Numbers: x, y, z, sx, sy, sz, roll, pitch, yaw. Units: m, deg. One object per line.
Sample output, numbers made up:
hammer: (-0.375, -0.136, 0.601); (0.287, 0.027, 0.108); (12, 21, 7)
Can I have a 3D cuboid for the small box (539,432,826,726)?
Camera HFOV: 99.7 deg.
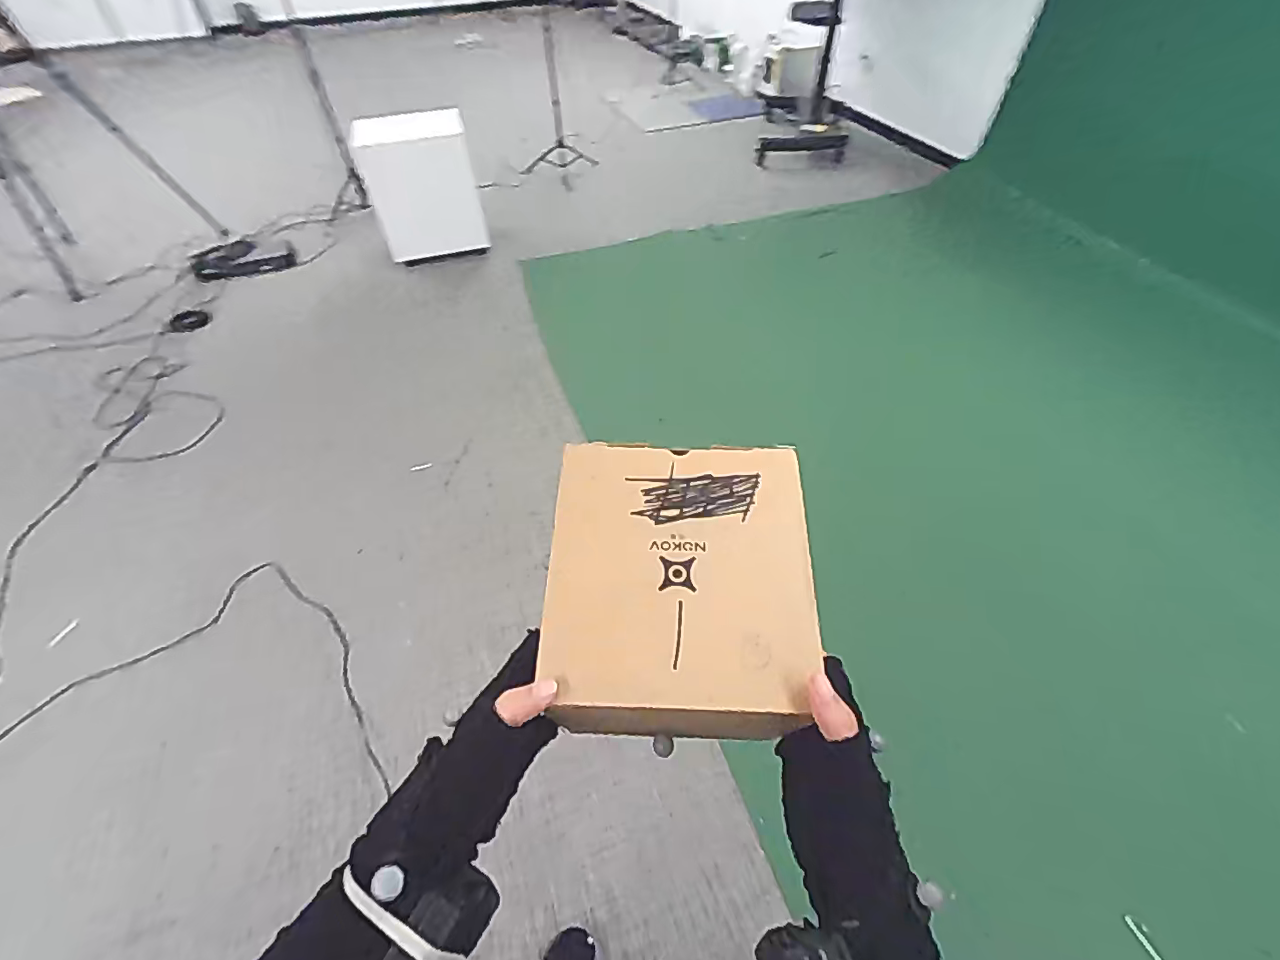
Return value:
small box: (0.027, 0.082, 0.415); (0.168, 0.176, 0.179); (0, 60, 2)
